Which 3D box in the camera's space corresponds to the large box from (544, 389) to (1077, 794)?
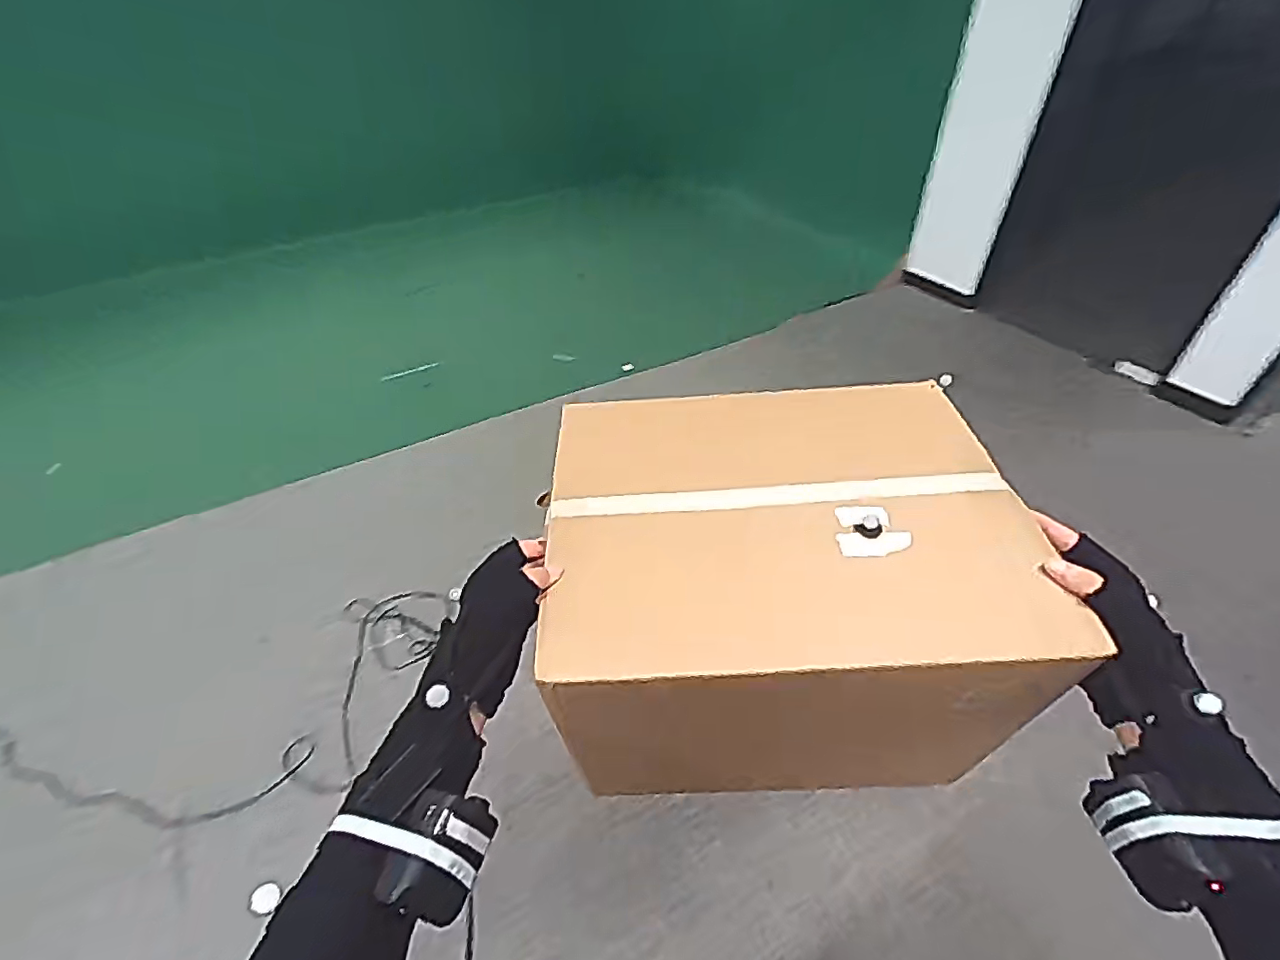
[{"bbox_3d":[0.123,0.125,0.603,0.408,0.320,0.320,-4,47,0],"label":"large box"}]
